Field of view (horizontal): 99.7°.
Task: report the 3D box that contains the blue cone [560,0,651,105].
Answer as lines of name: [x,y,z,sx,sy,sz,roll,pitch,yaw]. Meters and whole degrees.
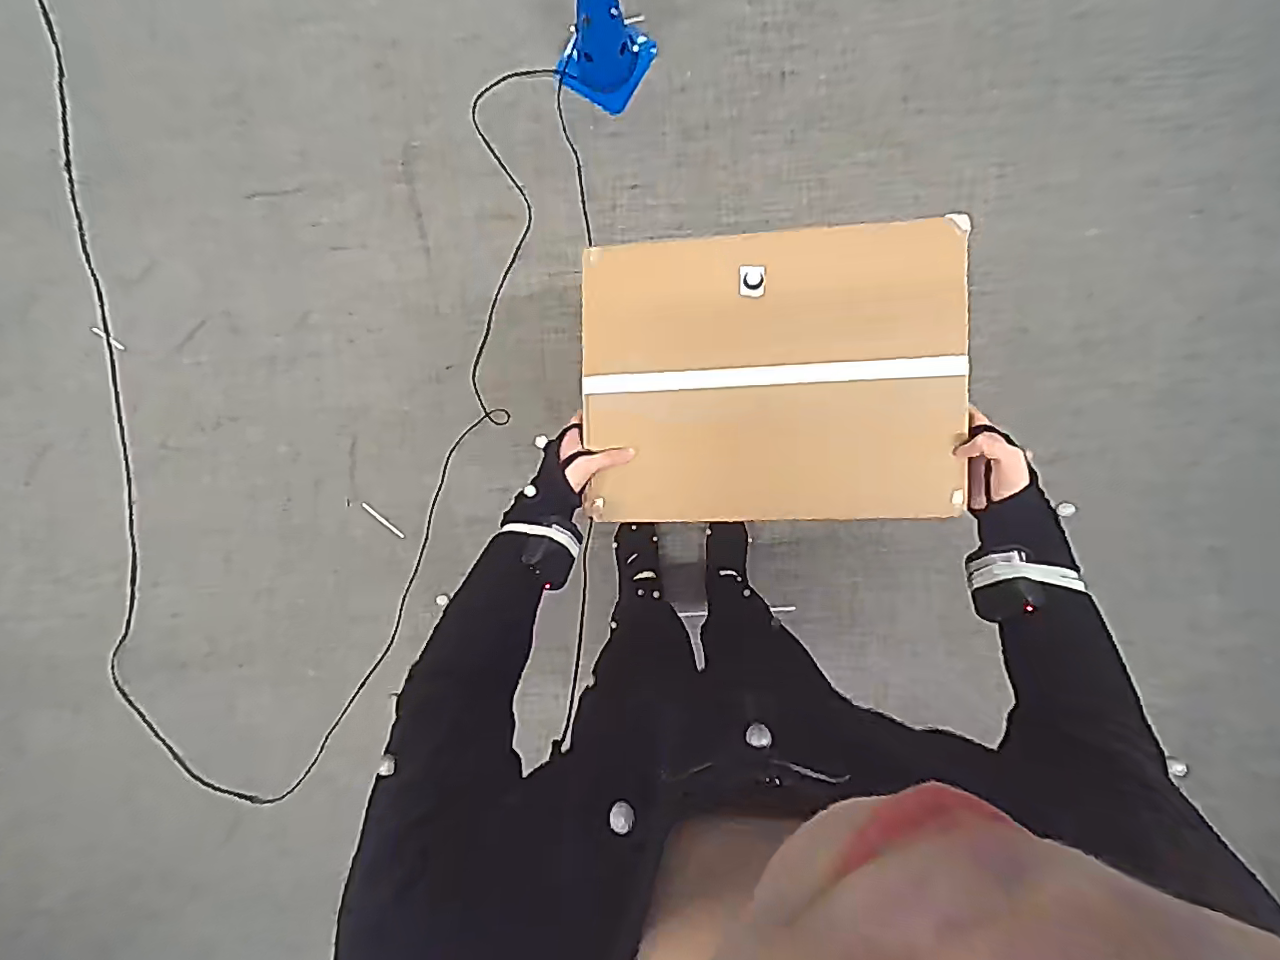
blue cone: [-0.089,-1.031,1.161,0.192,0.380,0.193,29,94,-2]
